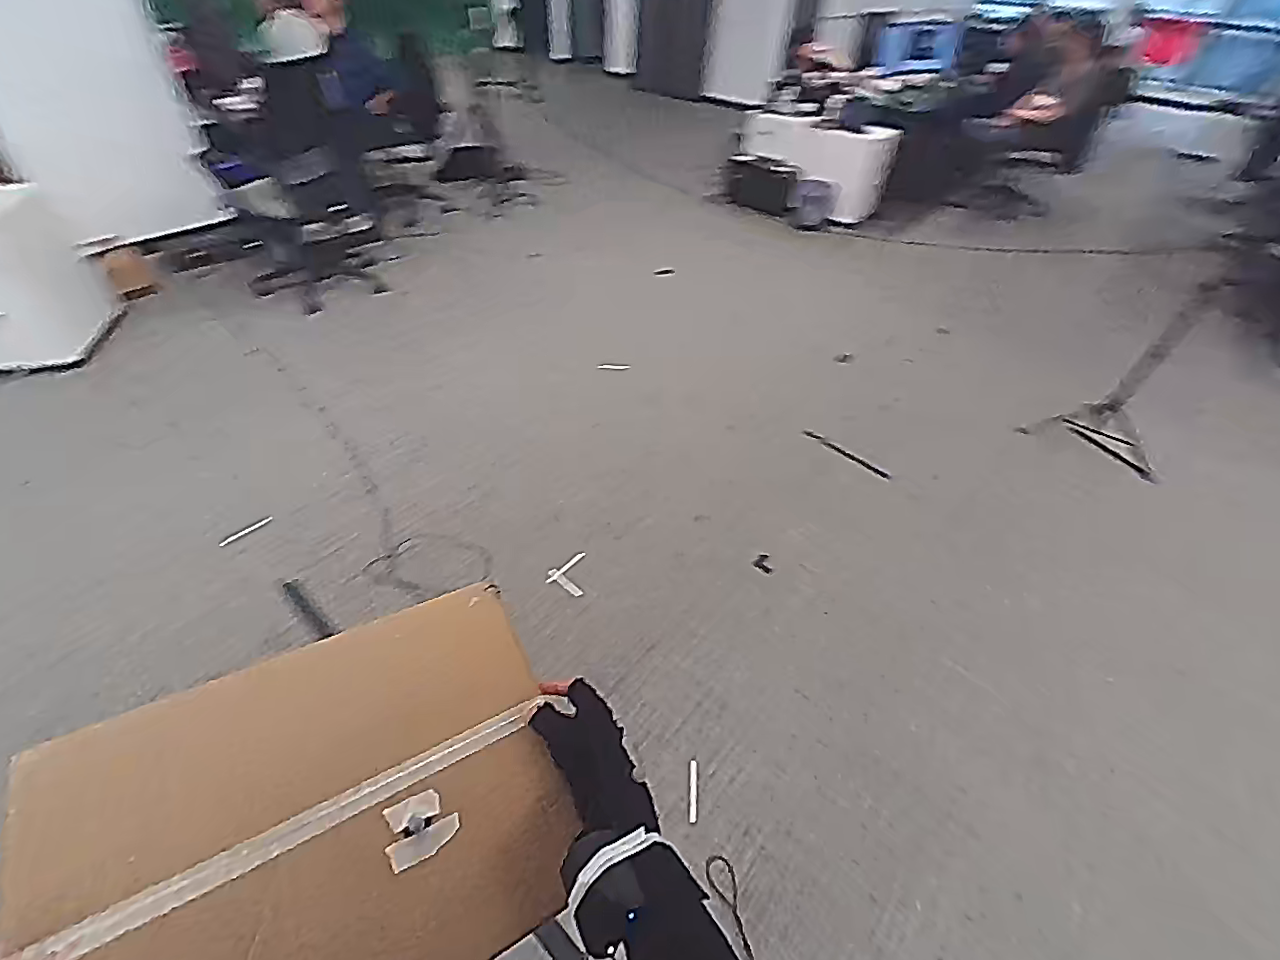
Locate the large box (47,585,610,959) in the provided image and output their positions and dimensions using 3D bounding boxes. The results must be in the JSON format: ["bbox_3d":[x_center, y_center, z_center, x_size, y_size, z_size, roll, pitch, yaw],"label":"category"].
[{"bbox_3d":[-0.295,0.382,0.595,0.408,0.320,0.320,-17,59,-26],"label":"large box"}]
